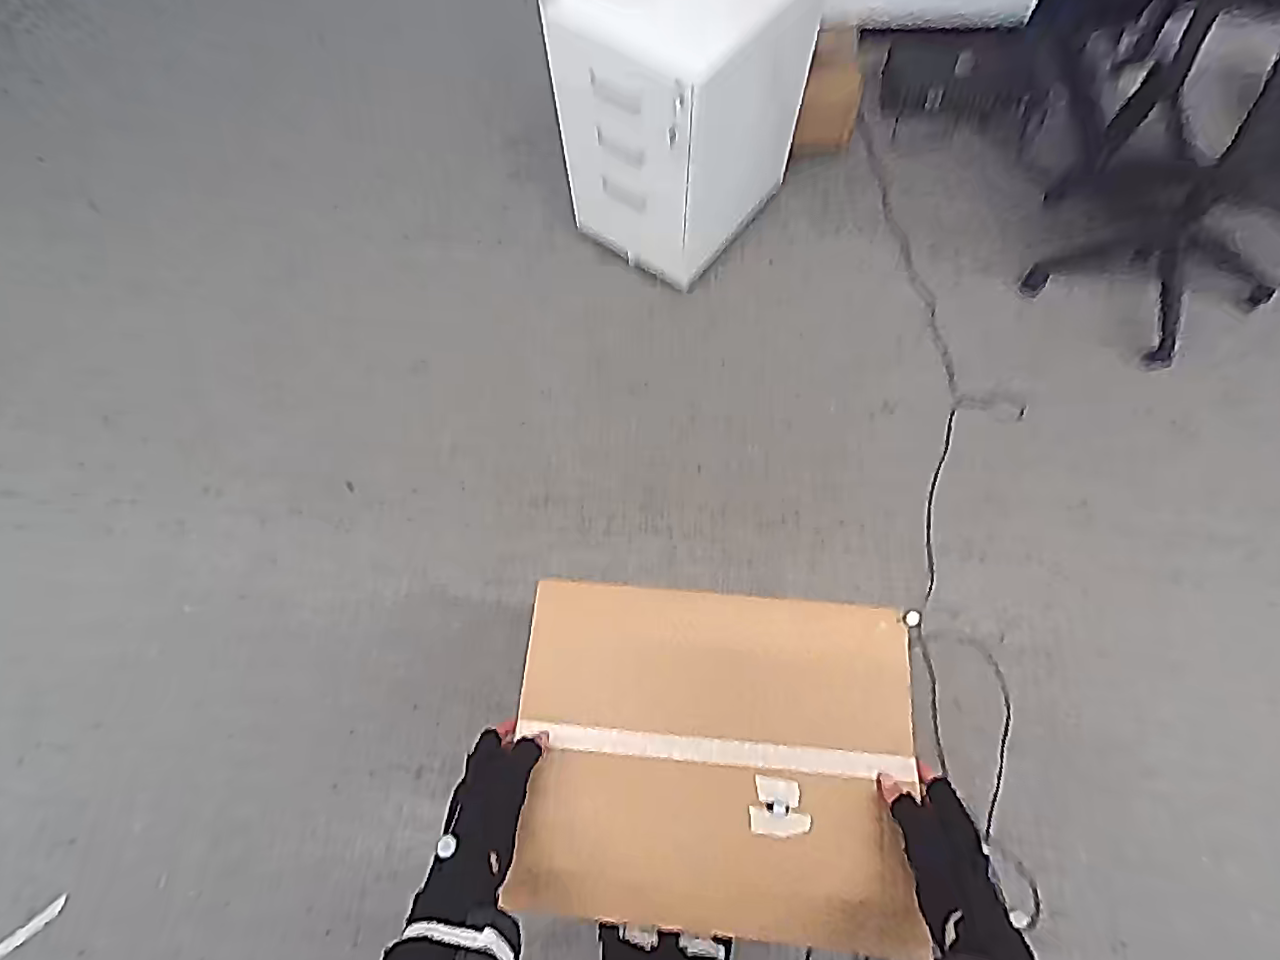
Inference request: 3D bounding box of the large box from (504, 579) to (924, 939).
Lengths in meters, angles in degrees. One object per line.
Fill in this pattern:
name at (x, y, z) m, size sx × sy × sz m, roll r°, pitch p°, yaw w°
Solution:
large box at (0.079, 0.318, 0.696) m, size 0.408 × 0.320 × 0.320 m, roll 4°, pitch 72°, yaw 3°
